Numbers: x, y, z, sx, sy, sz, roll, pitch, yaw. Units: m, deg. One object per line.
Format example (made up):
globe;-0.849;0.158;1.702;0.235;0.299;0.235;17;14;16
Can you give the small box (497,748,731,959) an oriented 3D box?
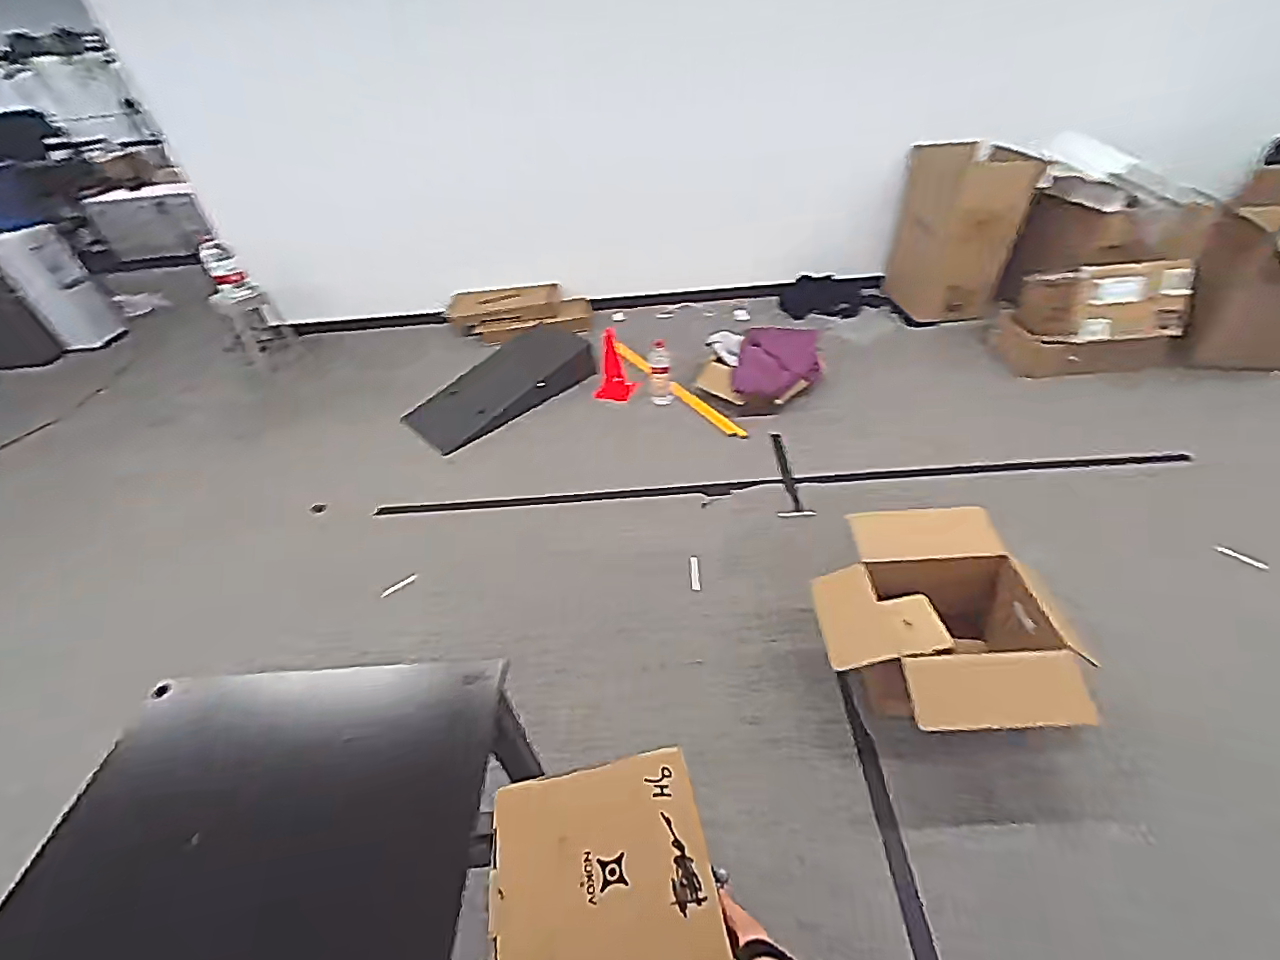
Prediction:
small box;-0.022;0.377;0.495;0.179;0.176;0.168;-11;44;-4
